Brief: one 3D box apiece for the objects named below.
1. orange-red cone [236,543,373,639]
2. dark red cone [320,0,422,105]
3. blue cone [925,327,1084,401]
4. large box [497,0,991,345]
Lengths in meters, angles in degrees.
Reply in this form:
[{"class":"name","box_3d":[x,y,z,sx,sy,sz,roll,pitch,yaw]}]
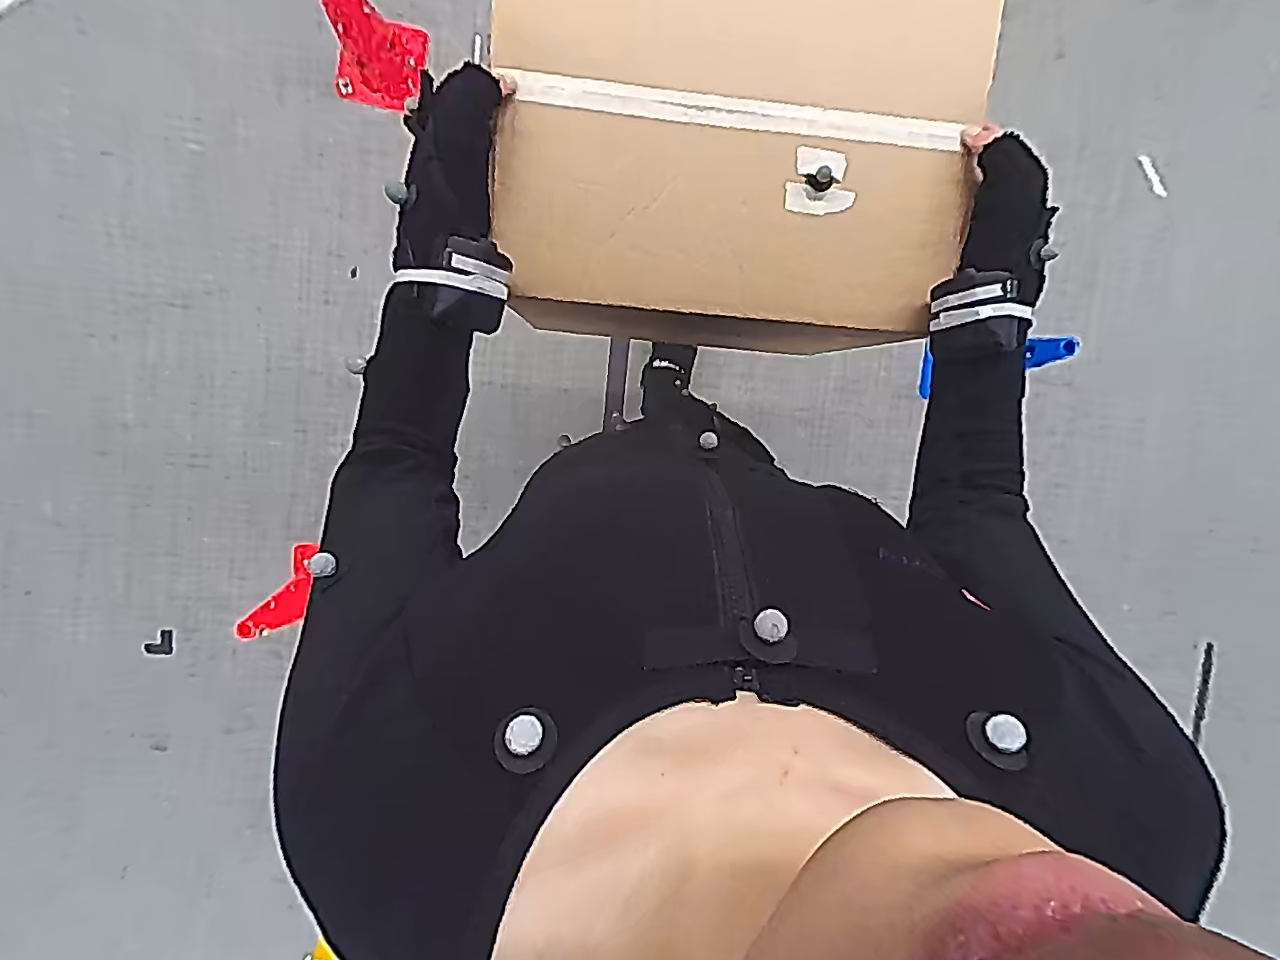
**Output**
[{"class":"orange-red cone","box_3d":[-0.795,0.285,1.253,0.198,0.360,0.199,2,97,-3]},{"class":"dark red cone","box_3d":[-0.613,-0.996,1.121,0.201,0.394,0.202,10,95,-6]},{"class":"blue cone","box_3d":[0.894,-0.303,1.321,0.192,0.380,0.193,8,95,-5]},{"class":"large box","box_3d":[0.072,-0.329,0.591,0.408,0.320,0.320,4,100,-6]}]
